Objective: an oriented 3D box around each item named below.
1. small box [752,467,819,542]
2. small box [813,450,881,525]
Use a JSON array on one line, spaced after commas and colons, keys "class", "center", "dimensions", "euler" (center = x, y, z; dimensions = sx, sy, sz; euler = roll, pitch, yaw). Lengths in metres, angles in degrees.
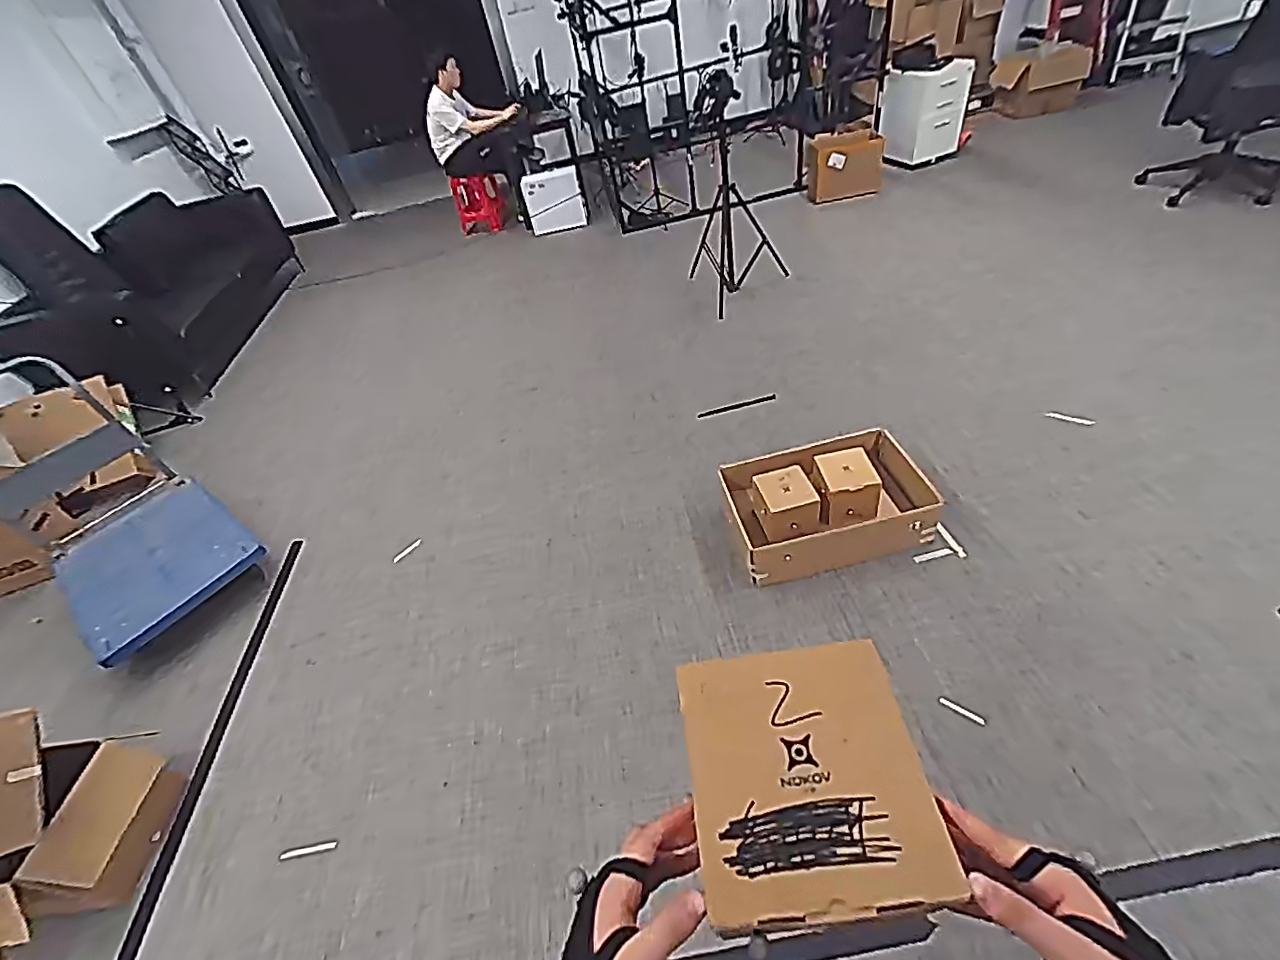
[{"class": "small box", "center": [0.486, 0.090, 1.815], "dimensions": [0.168, 0.176, 0.179], "euler": [-14, 43, -3]}, {"class": "small box", "center": [0.694, 0.026, 1.832], "dimensions": [0.168, 0.176, 0.179], "euler": [-11, 44, 4]}]
